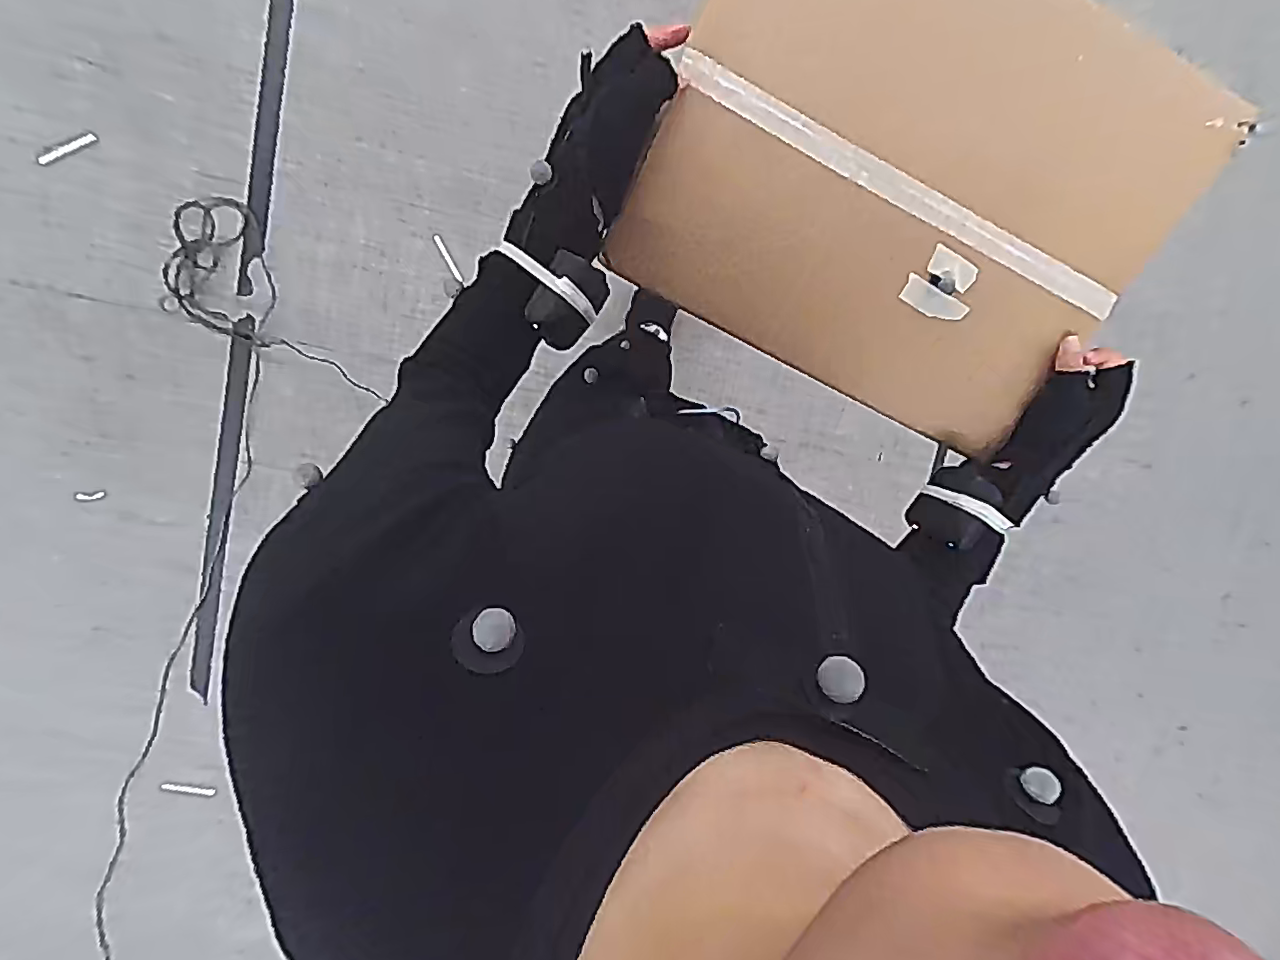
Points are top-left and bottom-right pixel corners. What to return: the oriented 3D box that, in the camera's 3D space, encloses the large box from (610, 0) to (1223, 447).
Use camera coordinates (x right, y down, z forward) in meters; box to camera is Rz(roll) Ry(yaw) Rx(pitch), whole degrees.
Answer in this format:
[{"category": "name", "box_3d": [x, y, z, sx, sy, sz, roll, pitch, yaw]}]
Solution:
[{"category": "large box", "box_3d": [0.217, -0.291, 0.584, 0.408, 0.320, 0.320, 26, 111, -8]}]
